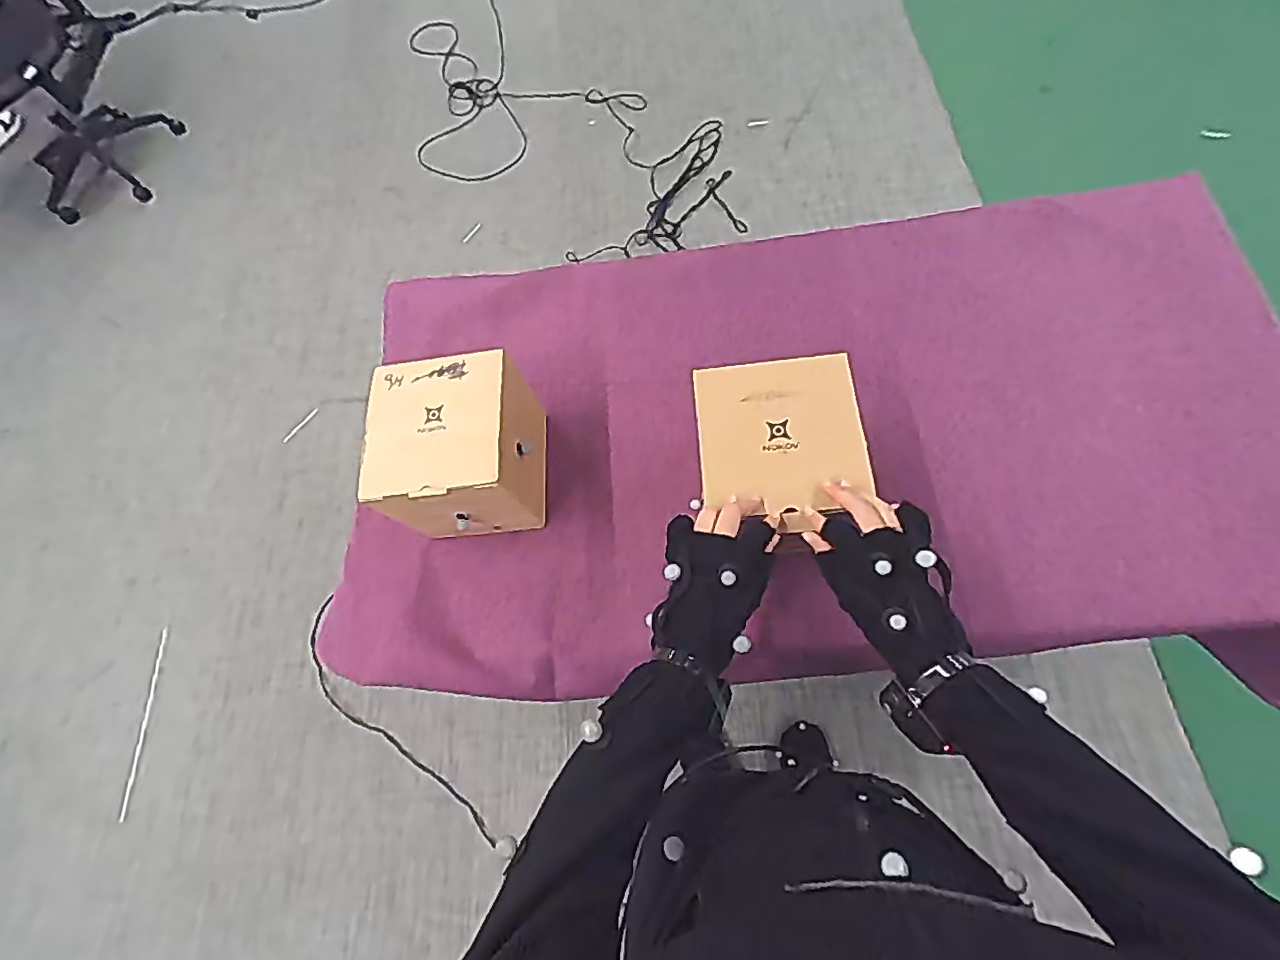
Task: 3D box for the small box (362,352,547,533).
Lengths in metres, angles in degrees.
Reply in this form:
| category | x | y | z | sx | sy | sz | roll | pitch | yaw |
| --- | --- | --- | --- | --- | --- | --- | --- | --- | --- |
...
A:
| category | x | y | z | sx | sy | sz | roll | pitch | yaw |
| --- | --- | --- | --- | --- | --- | --- | --- | --- | --- |
| small box | -0.221 | -0.035 | 0.692 | 0.168 | 0.176 | 0.179 | -6 | 69 | 6 |

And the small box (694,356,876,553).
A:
| category | x | y | z | sx | sy | sz | roll | pitch | yaw |
| --- | --- | --- | --- | --- | --- | --- | --- | --- | --- |
| small box | 0.154 | -0.017 | 0.625 | 0.168 | 0.176 | 0.179 | -5 | 68 | 7 |
